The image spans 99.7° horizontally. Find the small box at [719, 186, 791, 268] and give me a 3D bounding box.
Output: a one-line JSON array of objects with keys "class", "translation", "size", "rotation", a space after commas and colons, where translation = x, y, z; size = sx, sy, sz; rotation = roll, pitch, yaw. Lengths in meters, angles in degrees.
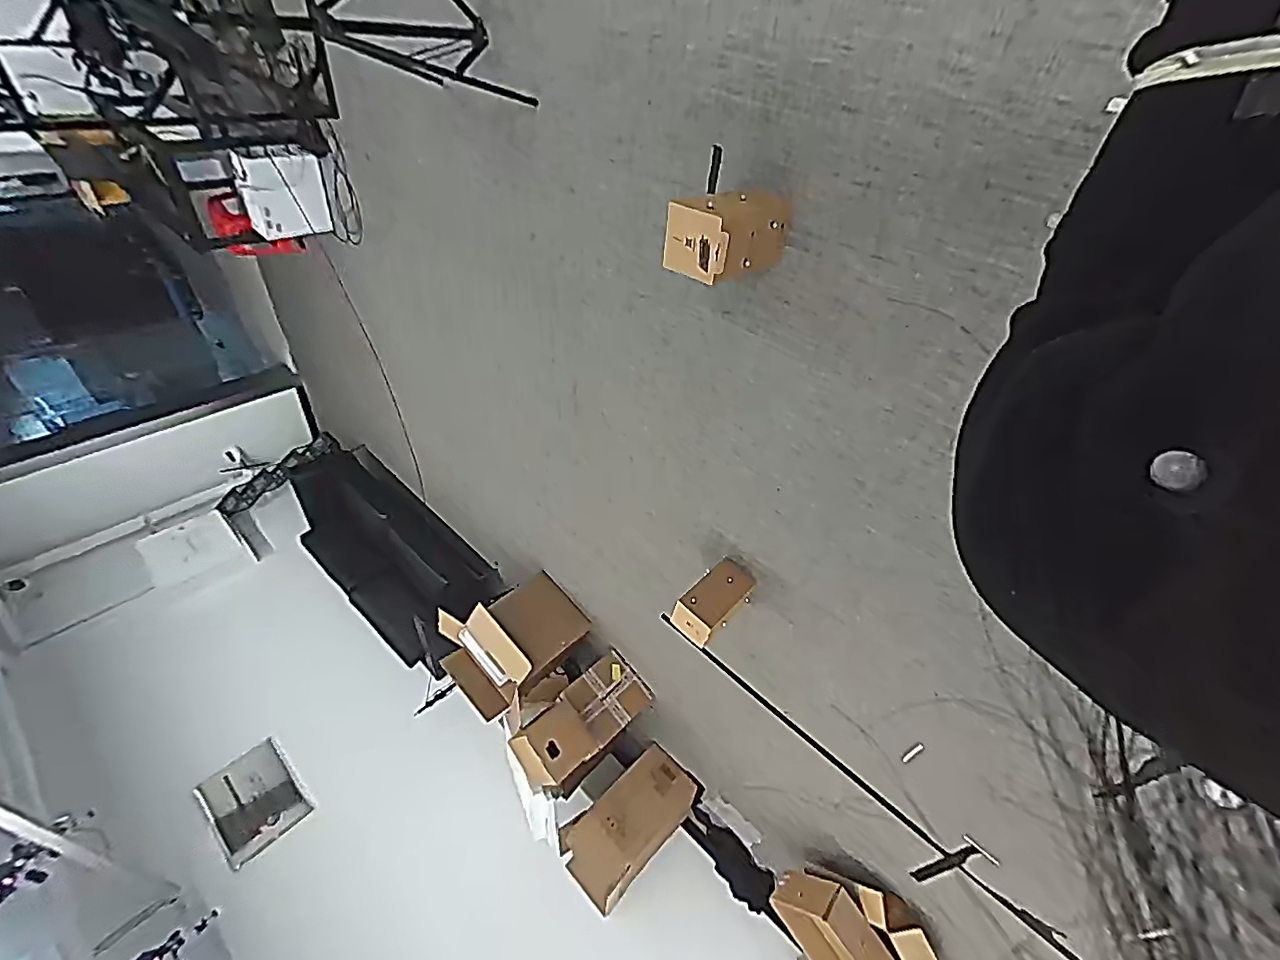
[{"class": "small box", "translation": [0.297, -0.718, 1.521], "size": [0.179, 0.176, 0.168], "rotation": [33, 137, 30]}]

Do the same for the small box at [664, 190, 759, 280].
[{"class": "small box", "translation": [0.187, -0.648, 1.419], "size": [0.179, 0.176, 0.168], "rotation": [33, 137, 29]}]

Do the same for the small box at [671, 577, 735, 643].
[{"class": "small box", "translation": [0.259, 0.525, 2.218], "size": [0.179, 0.176, 0.168], "rotation": [38, 141, 22]}]
